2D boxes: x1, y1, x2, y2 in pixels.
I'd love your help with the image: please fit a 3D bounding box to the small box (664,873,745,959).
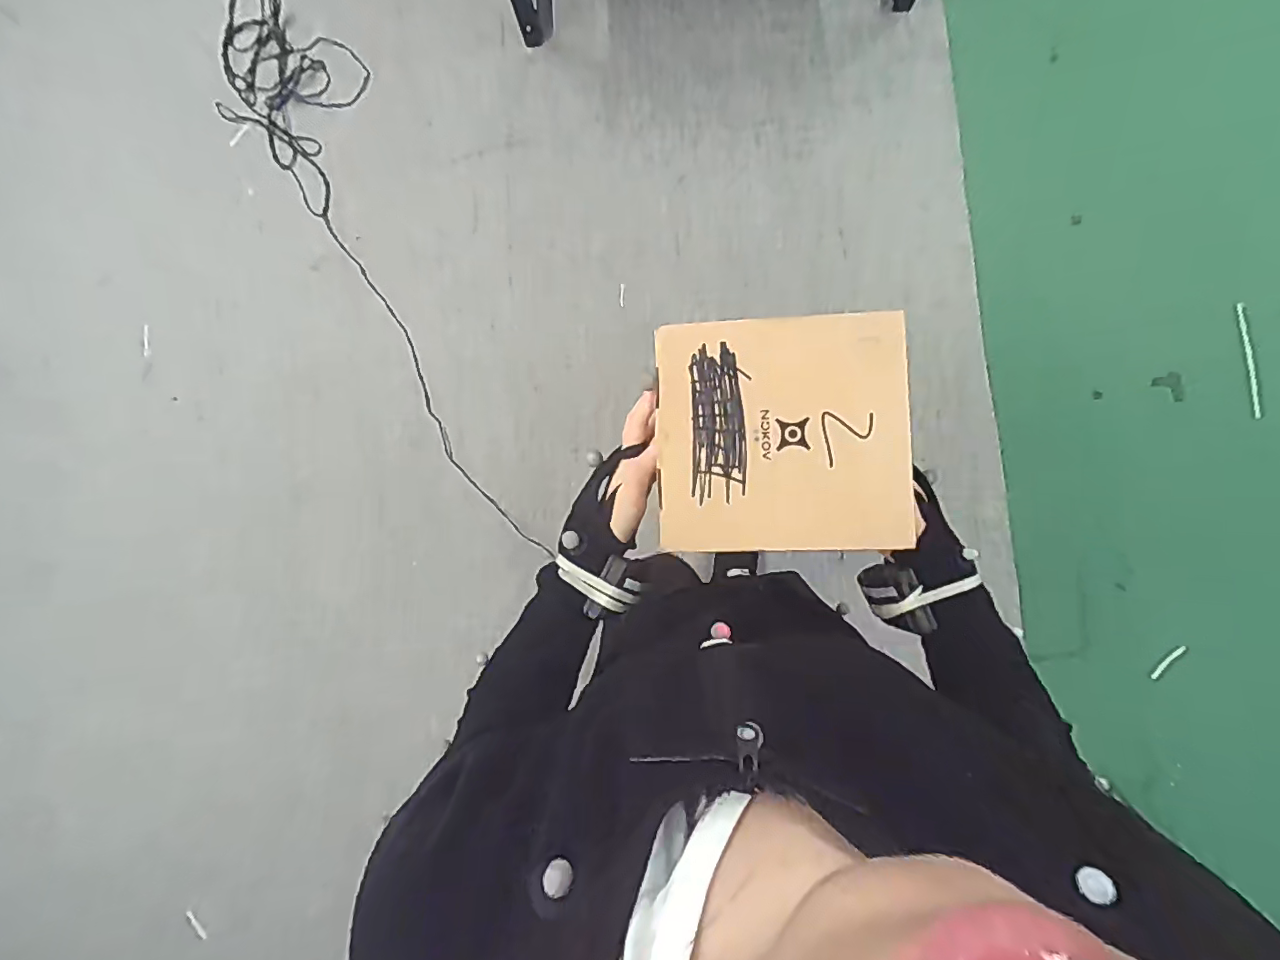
[{"bbox_3d":[0.159,1.099,1.321,0.179,0.176,0.168,-8,84,4],"label":"small box"}]
